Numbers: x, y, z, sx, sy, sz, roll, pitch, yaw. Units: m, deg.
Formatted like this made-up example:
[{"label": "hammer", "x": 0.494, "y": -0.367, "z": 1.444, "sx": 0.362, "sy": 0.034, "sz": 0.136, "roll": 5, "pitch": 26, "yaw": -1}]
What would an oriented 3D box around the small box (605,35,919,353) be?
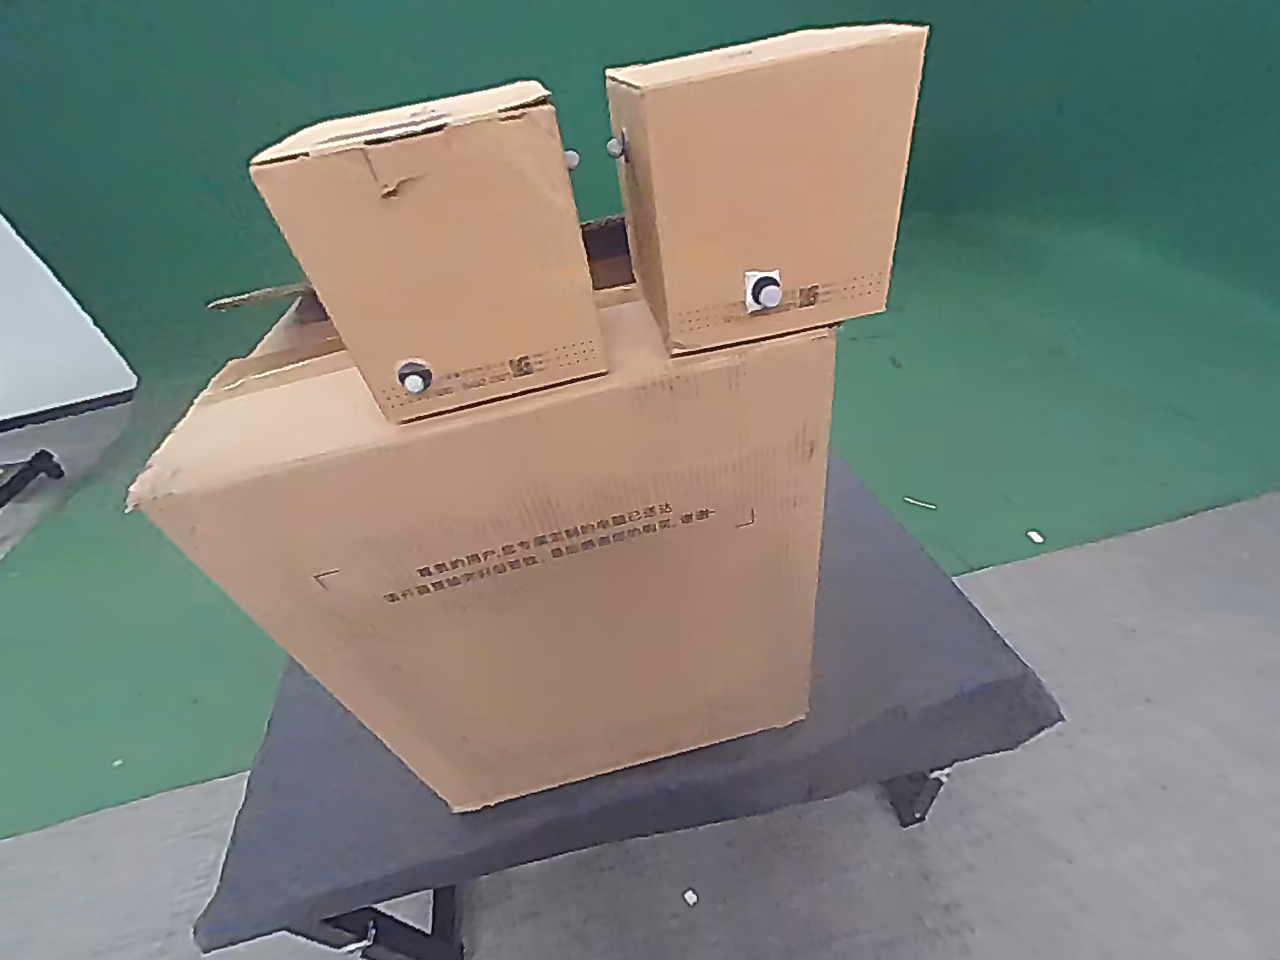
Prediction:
[{"label": "small box", "x": 0.077, "y": -0.222, "z": 0.419, "sx": 0.168, "sy": 0.176, "sz": 0.179, "roll": -15, "pitch": 41, "yaw": -3}]
